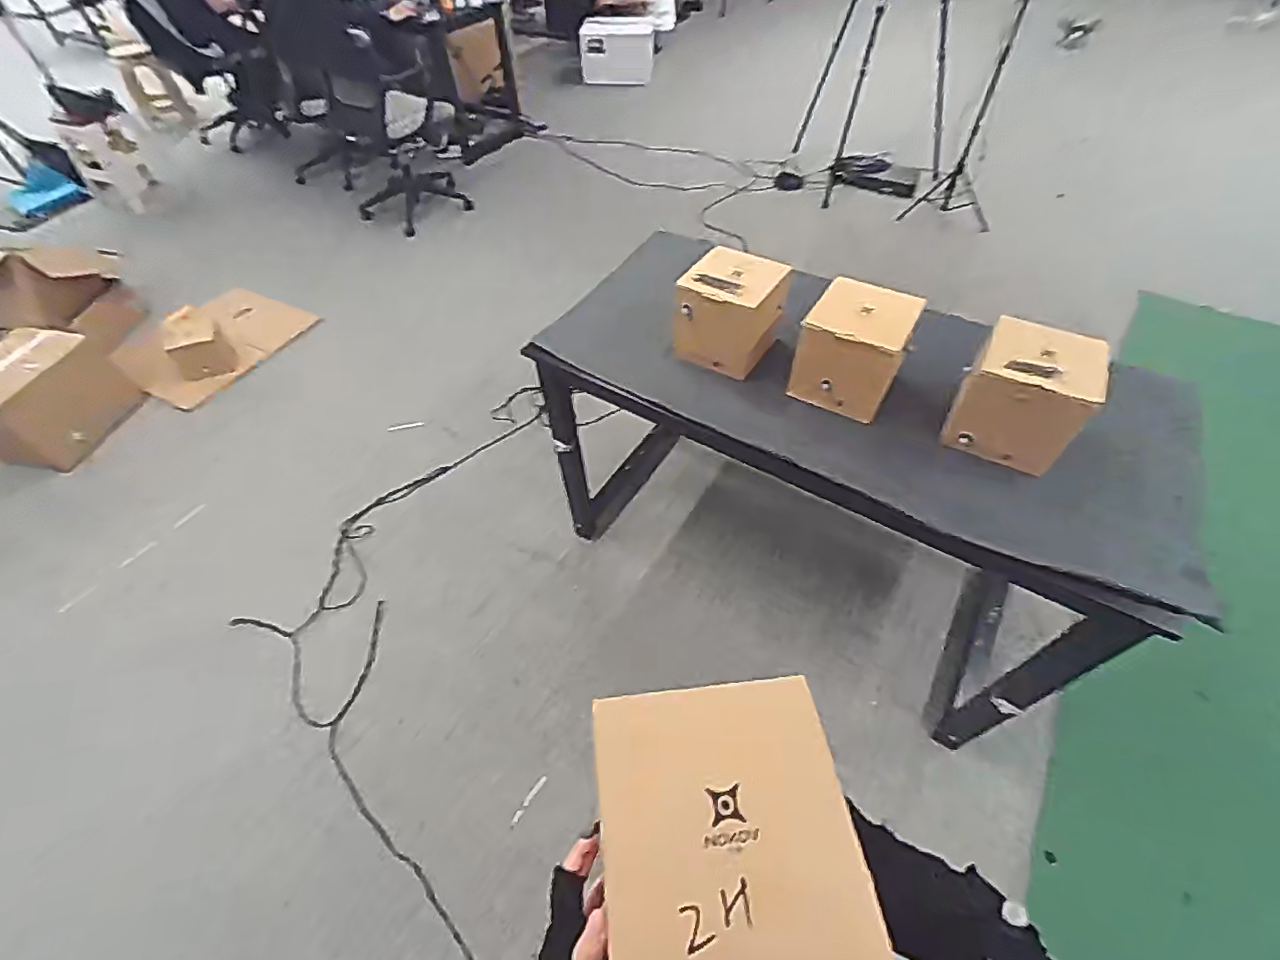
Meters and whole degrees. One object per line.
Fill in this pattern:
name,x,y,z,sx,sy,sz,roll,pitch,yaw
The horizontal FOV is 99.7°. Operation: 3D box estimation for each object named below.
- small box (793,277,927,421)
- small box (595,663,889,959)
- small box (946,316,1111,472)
small box,0.404,-0.246,1.016,0.168,0.176,0.179,26,57,21
small box,0.051,0.263,0.417,0.168,0.176,0.179,-4,51,-6
small box,0.649,-0.144,0.920,0.168,0.176,0.179,25,56,21
